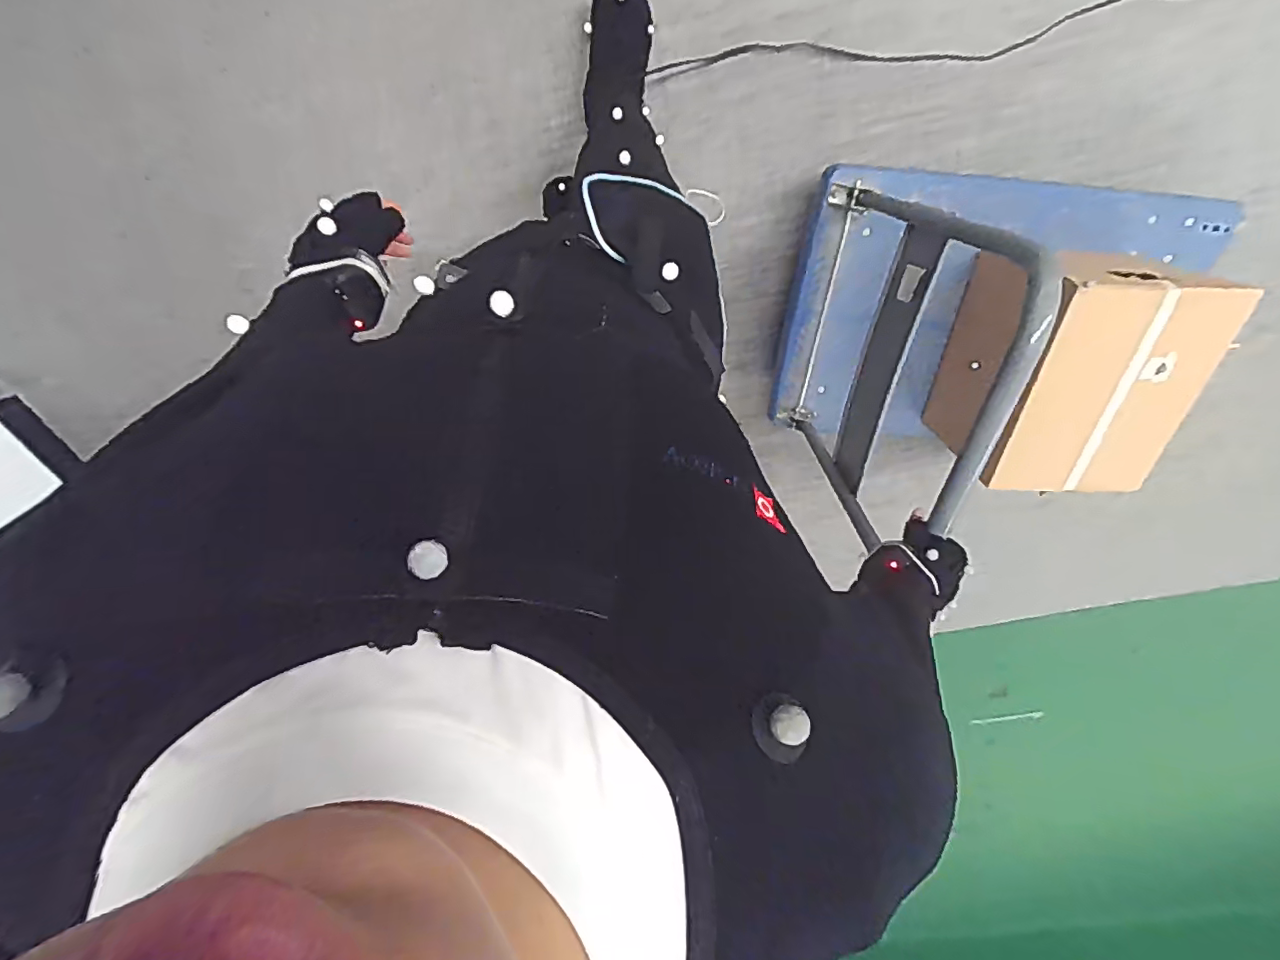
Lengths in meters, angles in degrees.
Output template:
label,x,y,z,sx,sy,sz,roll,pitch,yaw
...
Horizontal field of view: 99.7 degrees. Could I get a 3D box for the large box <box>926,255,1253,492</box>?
label,x,y,z,sx,sy,sz,roll,pitch,yaw
large box,0.856,-0.223,1.116,0.320,0.320,0.408,0,122,-1
